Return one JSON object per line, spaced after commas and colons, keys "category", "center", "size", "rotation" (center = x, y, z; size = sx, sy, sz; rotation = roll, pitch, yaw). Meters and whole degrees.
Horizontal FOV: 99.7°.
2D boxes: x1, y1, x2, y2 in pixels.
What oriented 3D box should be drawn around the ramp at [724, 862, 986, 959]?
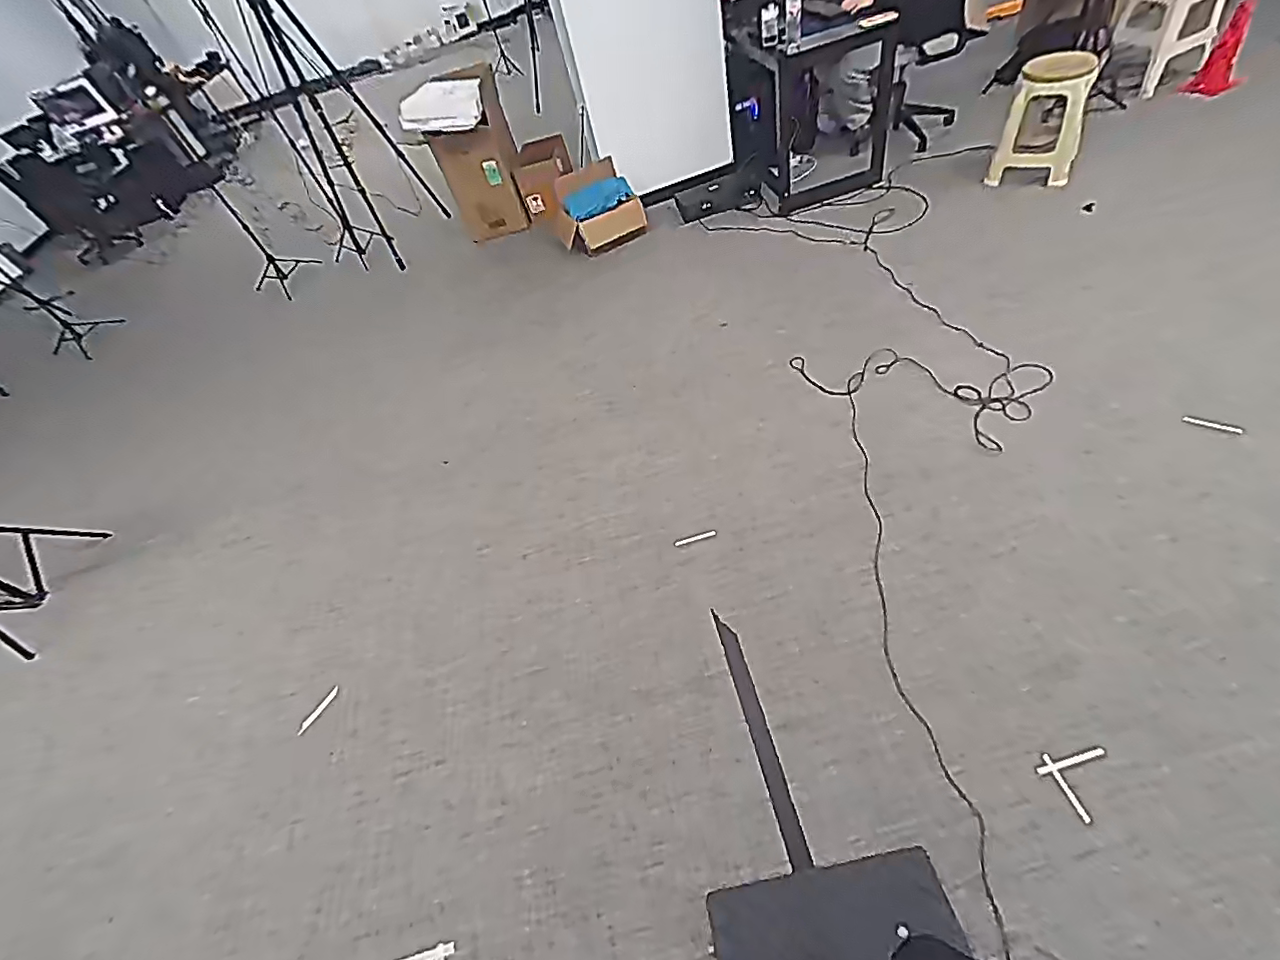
{"category": "ramp", "center": [0.476, 1.184, 0.780], "size": [0.509, 0.206, 0.991], "rotation": [-19, 46, 3]}
